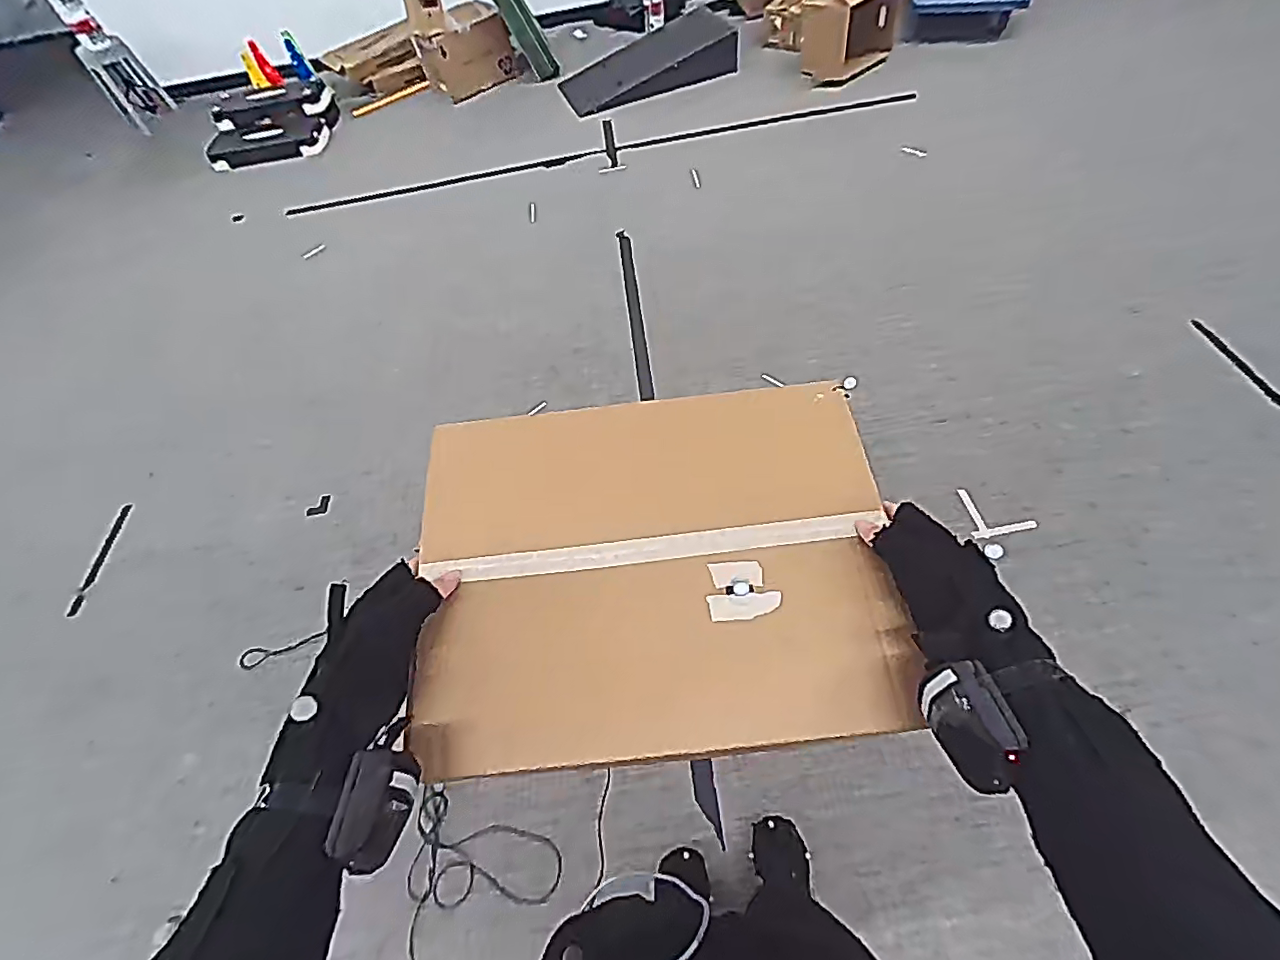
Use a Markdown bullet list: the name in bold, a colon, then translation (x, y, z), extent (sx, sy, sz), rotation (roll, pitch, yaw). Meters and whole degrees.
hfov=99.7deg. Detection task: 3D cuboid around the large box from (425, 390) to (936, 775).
- **large box**: translation (0.022, 0.135, 0.611), extent (0.408, 0.320, 0.320), rotation (-6, 62, 0)
